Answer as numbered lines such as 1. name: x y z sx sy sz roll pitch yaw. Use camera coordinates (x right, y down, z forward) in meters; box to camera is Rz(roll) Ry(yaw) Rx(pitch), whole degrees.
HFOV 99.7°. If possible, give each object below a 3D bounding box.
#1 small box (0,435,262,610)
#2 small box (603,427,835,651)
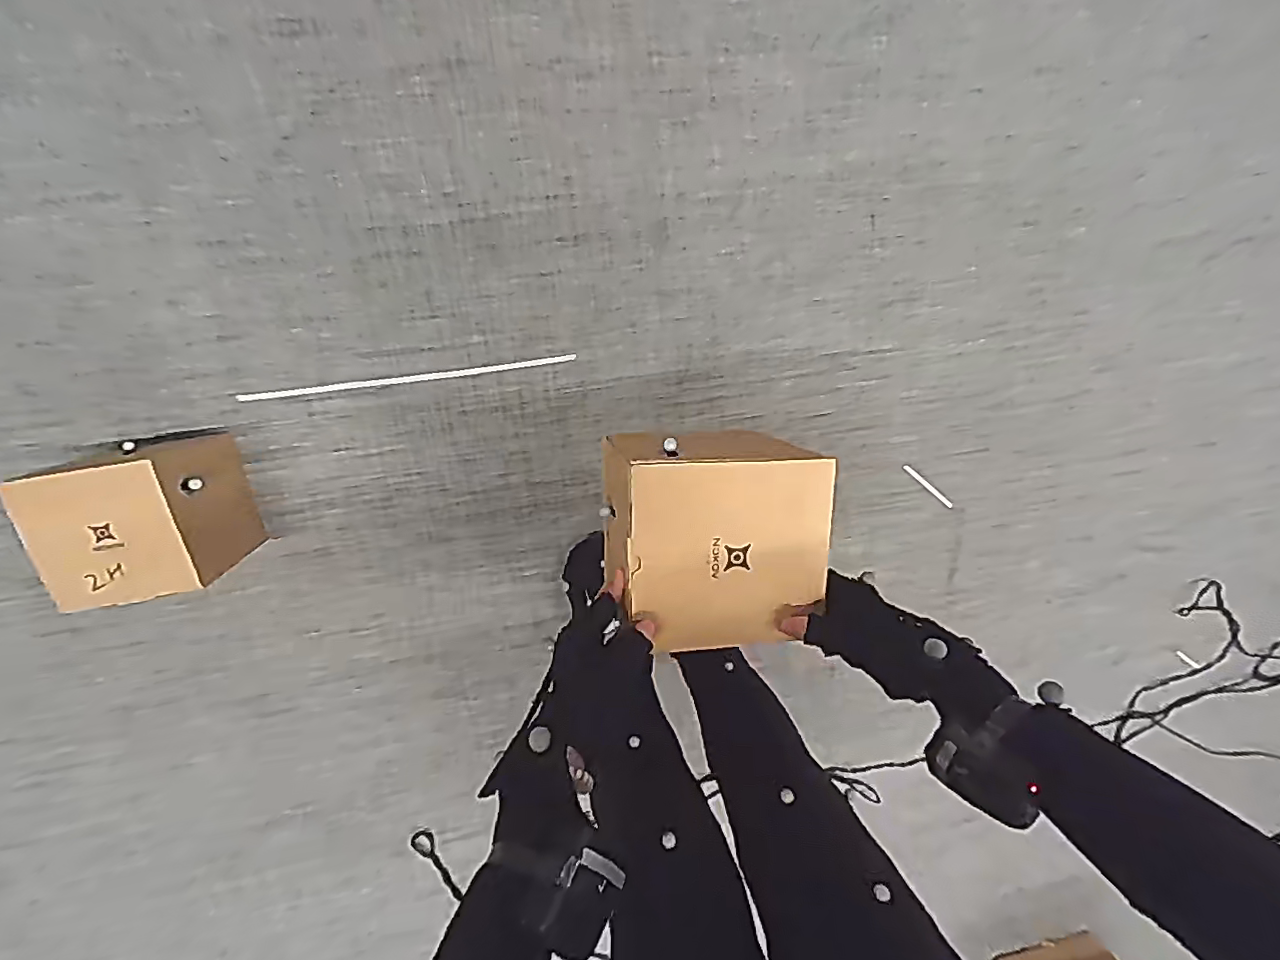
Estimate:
1. small box: -0.651 0.043 0.718 0.168 0.176 0.179 -10 108 -7
2. small box: 0.060 0.042 0.522 0.179 0.176 0.168 -2 104 -9
